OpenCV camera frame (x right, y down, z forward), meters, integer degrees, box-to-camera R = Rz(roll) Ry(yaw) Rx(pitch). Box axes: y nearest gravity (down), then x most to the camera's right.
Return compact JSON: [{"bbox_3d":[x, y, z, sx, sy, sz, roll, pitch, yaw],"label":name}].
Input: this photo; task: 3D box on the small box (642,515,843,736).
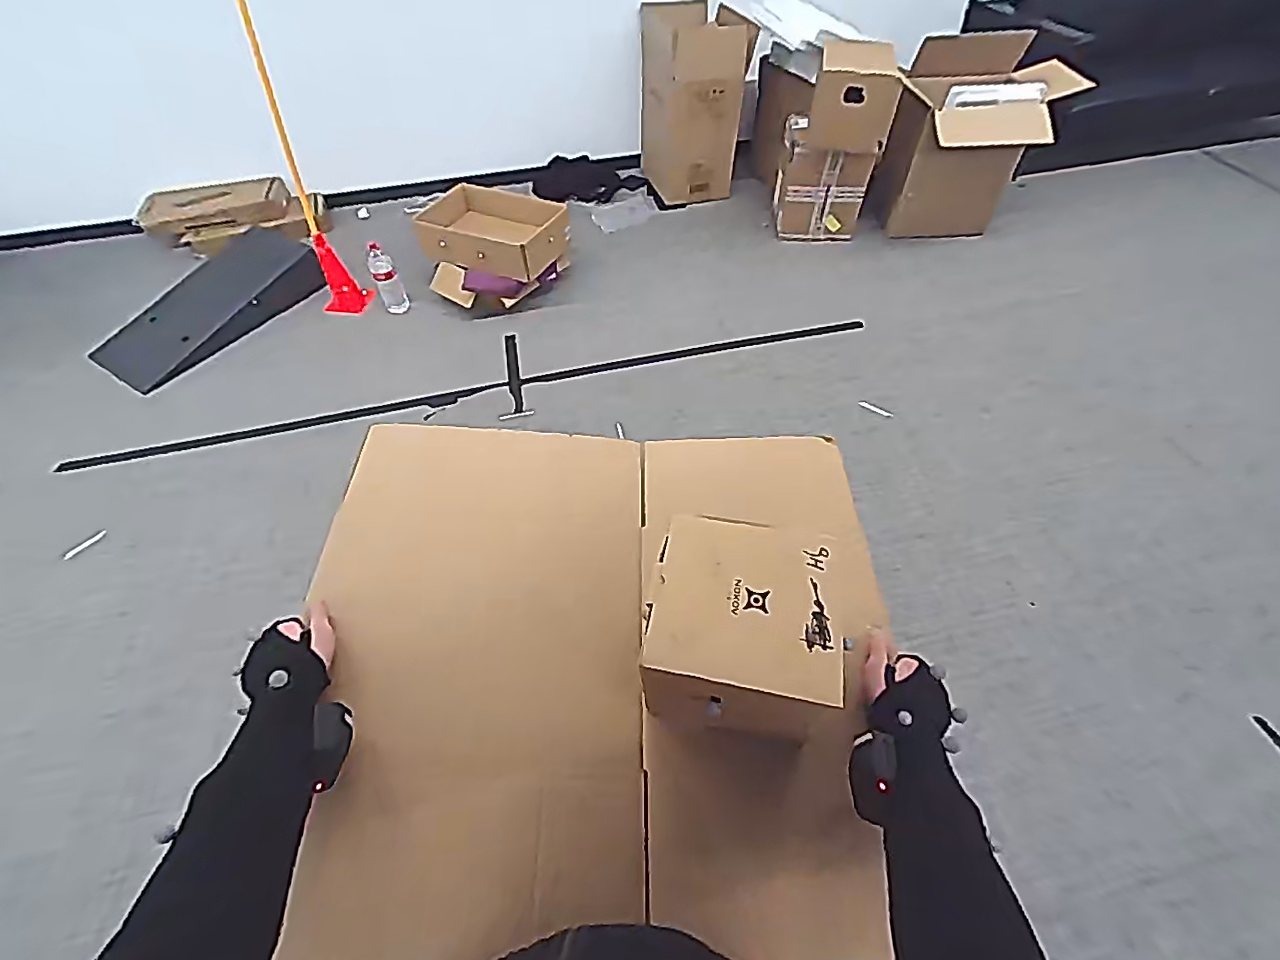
[{"bbox_3d":[0.109,0.159,0.579,0.179,0.176,0.168,8,55,11],"label":"small box"}]
